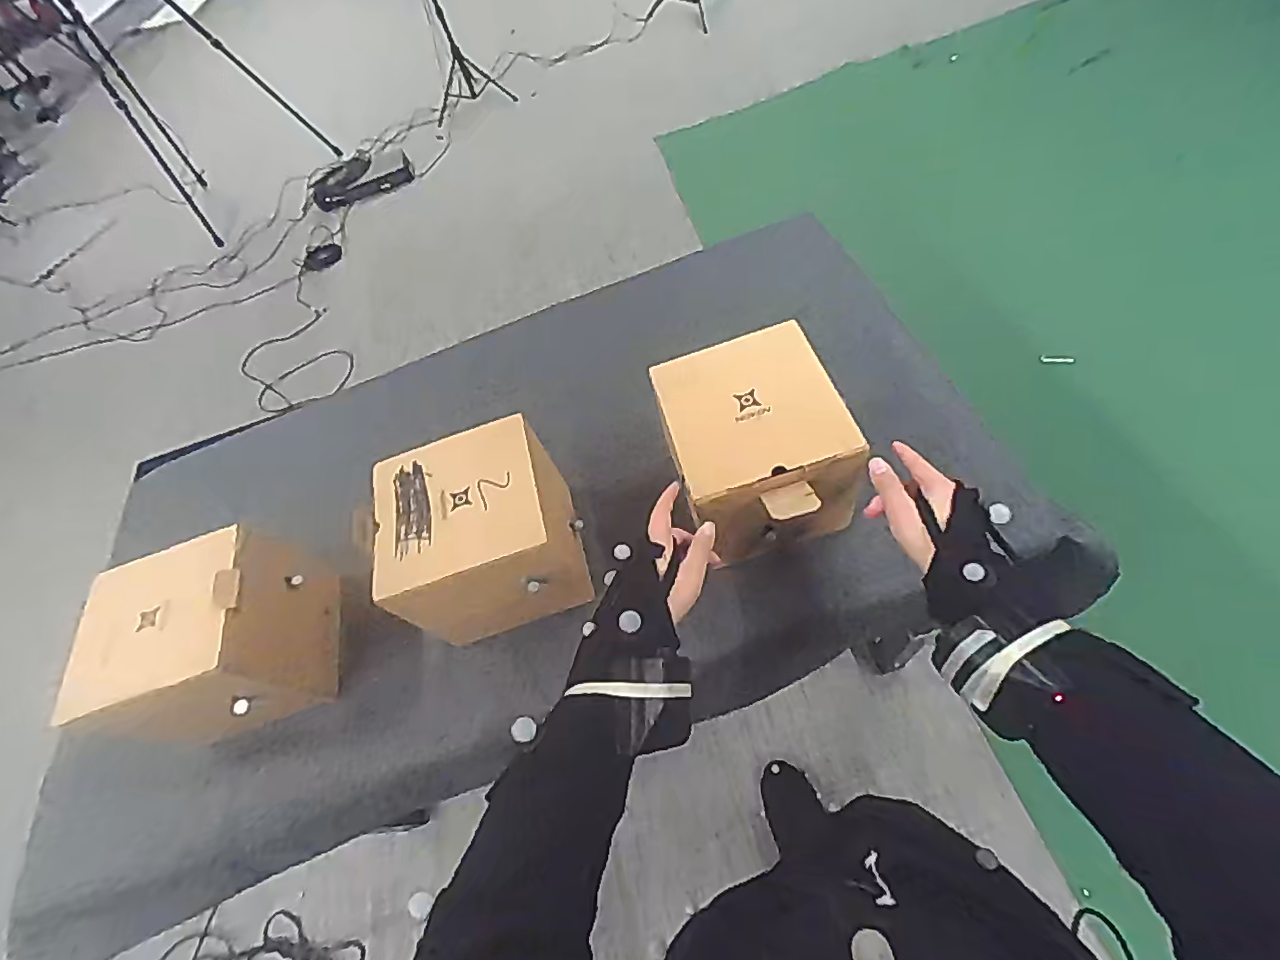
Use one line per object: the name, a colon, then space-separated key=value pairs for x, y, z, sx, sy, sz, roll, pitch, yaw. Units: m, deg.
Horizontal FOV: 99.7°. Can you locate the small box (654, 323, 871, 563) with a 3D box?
small box: x=0.125 y=-0.034 z=0.597 sx=0.168 sy=0.176 sz=0.179 roll=-18 pitch=58 yaw=2

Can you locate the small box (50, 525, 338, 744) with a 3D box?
small box: x=-0.472 y=0.180 z=0.610 sx=0.179 sy=0.176 sz=0.168 roll=-21 pitch=56 yaw=2
